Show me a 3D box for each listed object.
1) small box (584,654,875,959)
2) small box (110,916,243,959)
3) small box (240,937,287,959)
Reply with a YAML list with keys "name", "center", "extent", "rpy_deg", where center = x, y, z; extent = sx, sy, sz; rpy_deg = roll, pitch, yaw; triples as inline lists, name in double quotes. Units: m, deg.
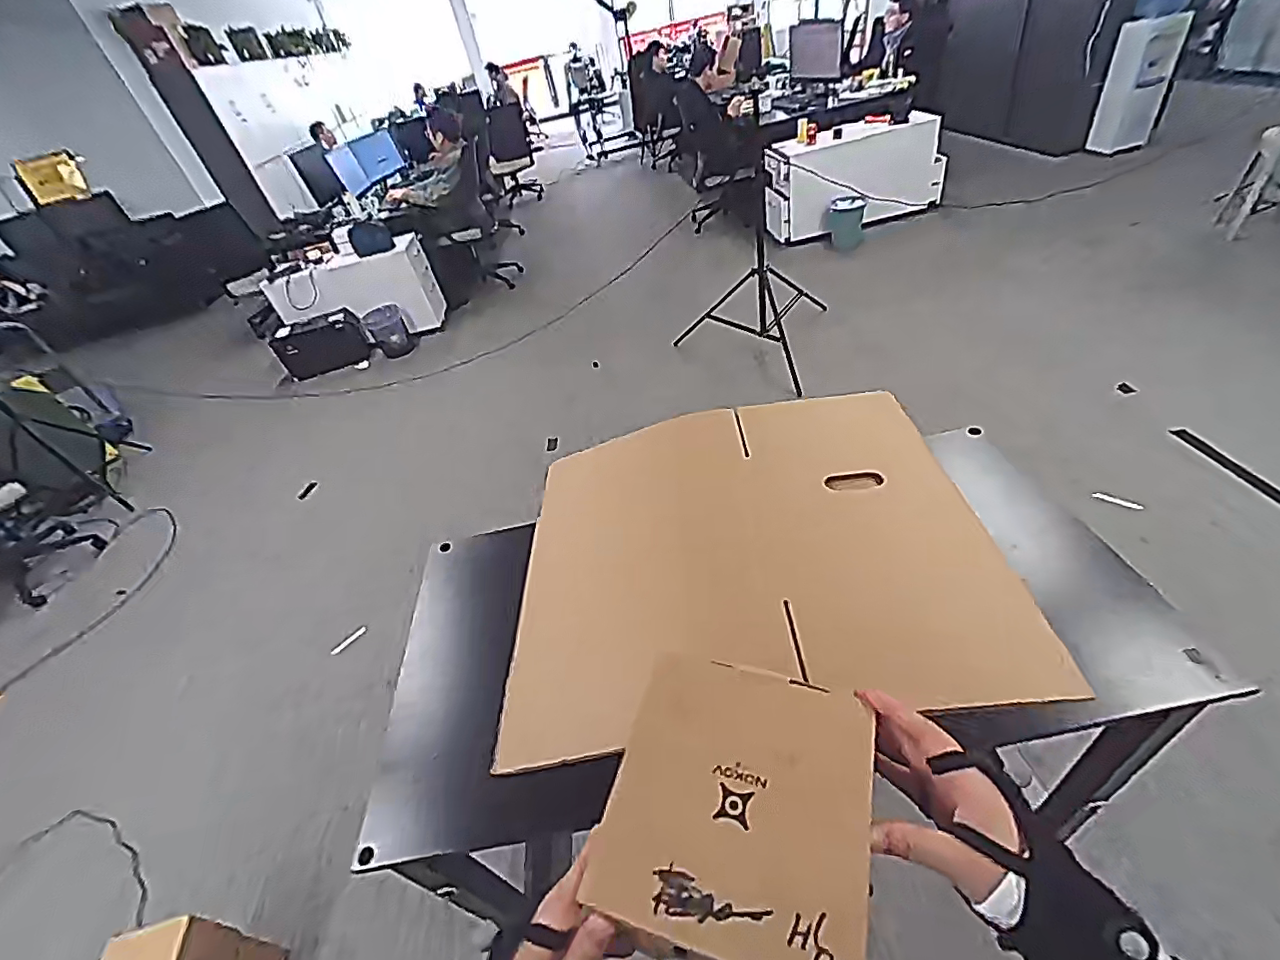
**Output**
- name: "small box"
  center: [0.078, 0.270, 0.417]
  extent: [0.168, 0.176, 0.179]
  rpy_deg: [7, 44, 21]
- name: "small box"
  center: [-0.948, 1.025, 1.085]
  extent: [0.168, 0.176, 0.179]
  rpy_deg: [-17, 39, -4]
- name: "small box"
  center: [-0.914, 1.149, 1.185]
  extent: [0.168, 0.176, 0.179]
  rpy_deg: [-15, 41, -1]
